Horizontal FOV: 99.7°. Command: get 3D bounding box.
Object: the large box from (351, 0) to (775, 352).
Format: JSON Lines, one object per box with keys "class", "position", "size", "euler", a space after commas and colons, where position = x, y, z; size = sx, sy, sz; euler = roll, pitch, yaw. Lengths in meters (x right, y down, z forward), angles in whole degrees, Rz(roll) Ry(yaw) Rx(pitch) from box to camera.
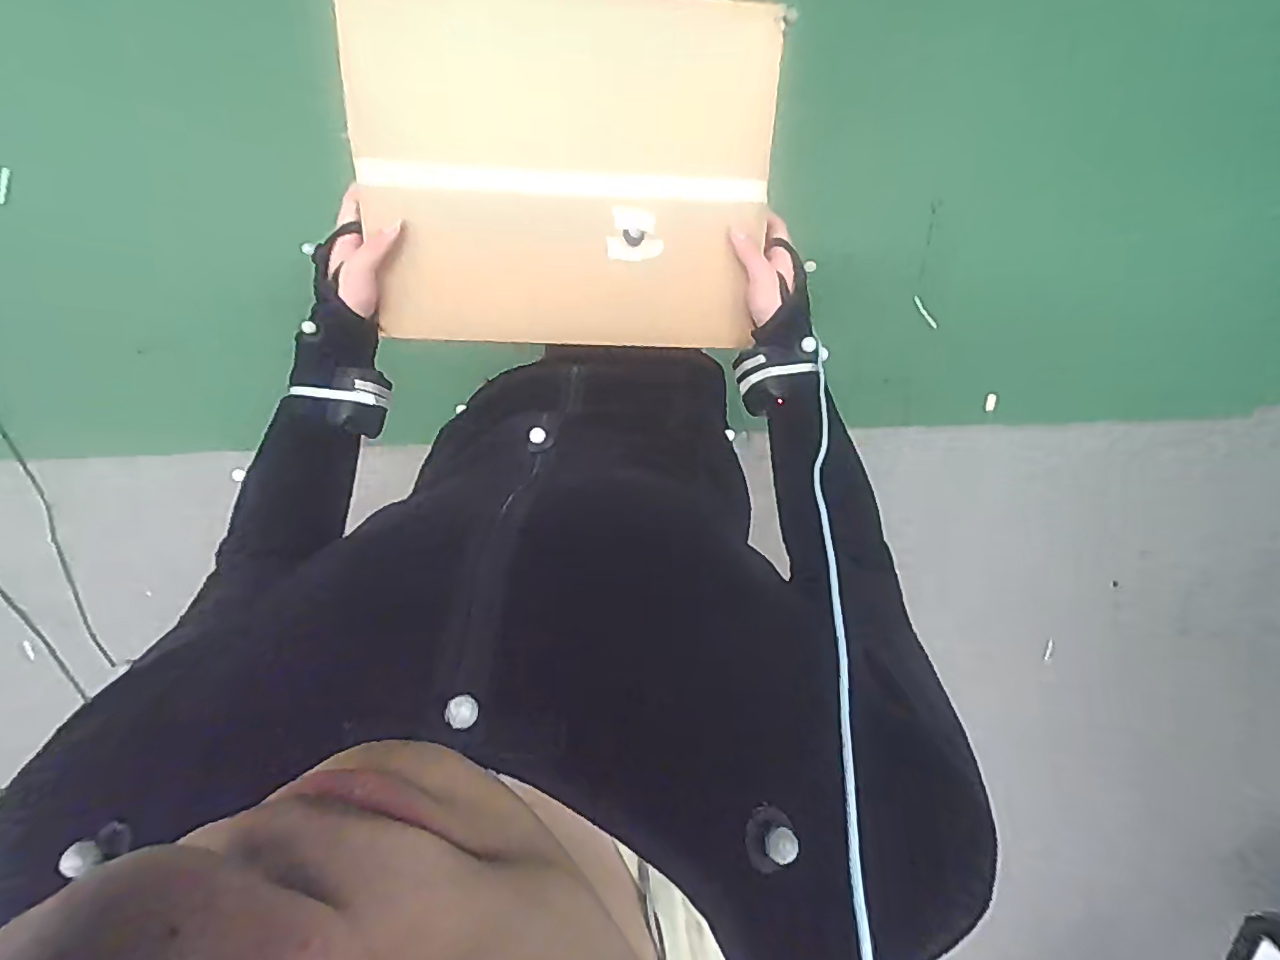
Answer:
{"class": "large box", "position": [-0.086, -0.339, 0.693], "size": [0.408, 0.320, 0.320], "euler": [1, 110, -6]}
